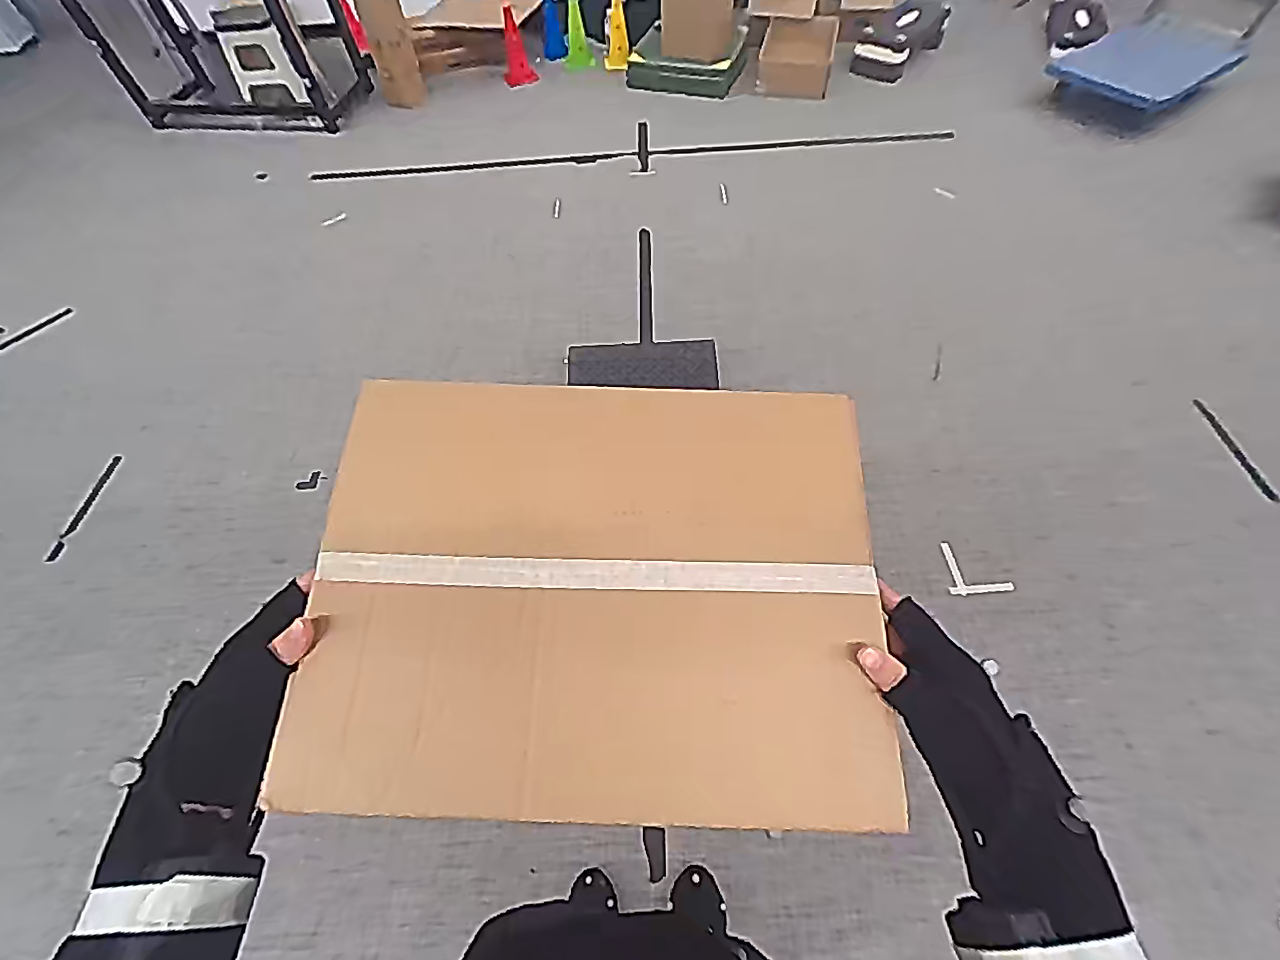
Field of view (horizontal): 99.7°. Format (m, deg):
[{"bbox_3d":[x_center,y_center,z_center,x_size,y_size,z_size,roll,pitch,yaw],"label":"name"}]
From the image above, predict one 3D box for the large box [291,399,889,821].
[{"bbox_3d":[-0.030,0.128,0.546,0.408,0.320,0.320,1,68,1],"label":"large box"}]
